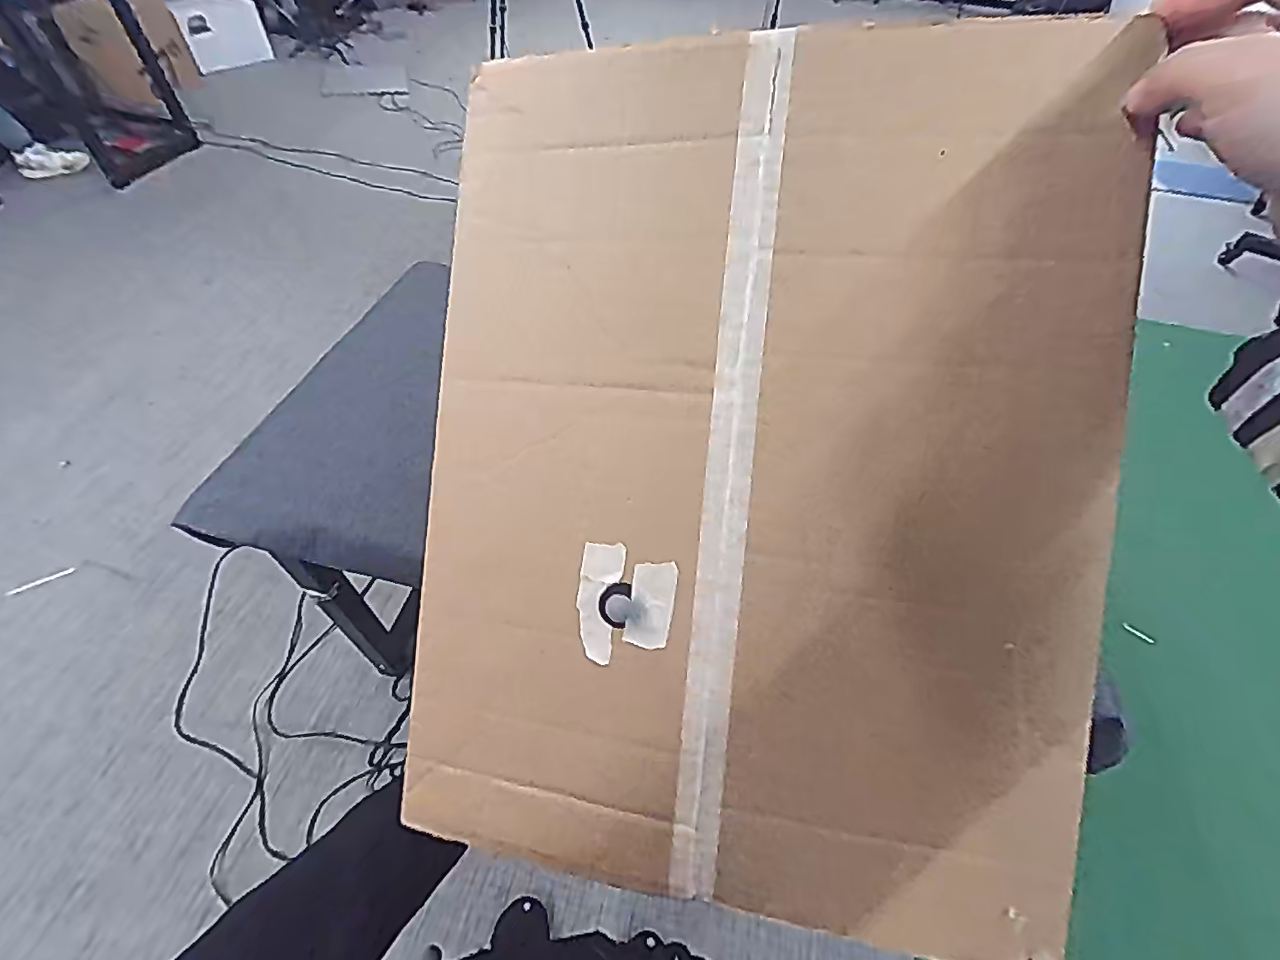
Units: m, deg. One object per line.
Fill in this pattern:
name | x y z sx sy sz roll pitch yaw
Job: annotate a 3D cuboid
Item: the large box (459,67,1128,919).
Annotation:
large box | 0.084 -0.004 0.421 0.320 0.320 0.408 5 92 11
